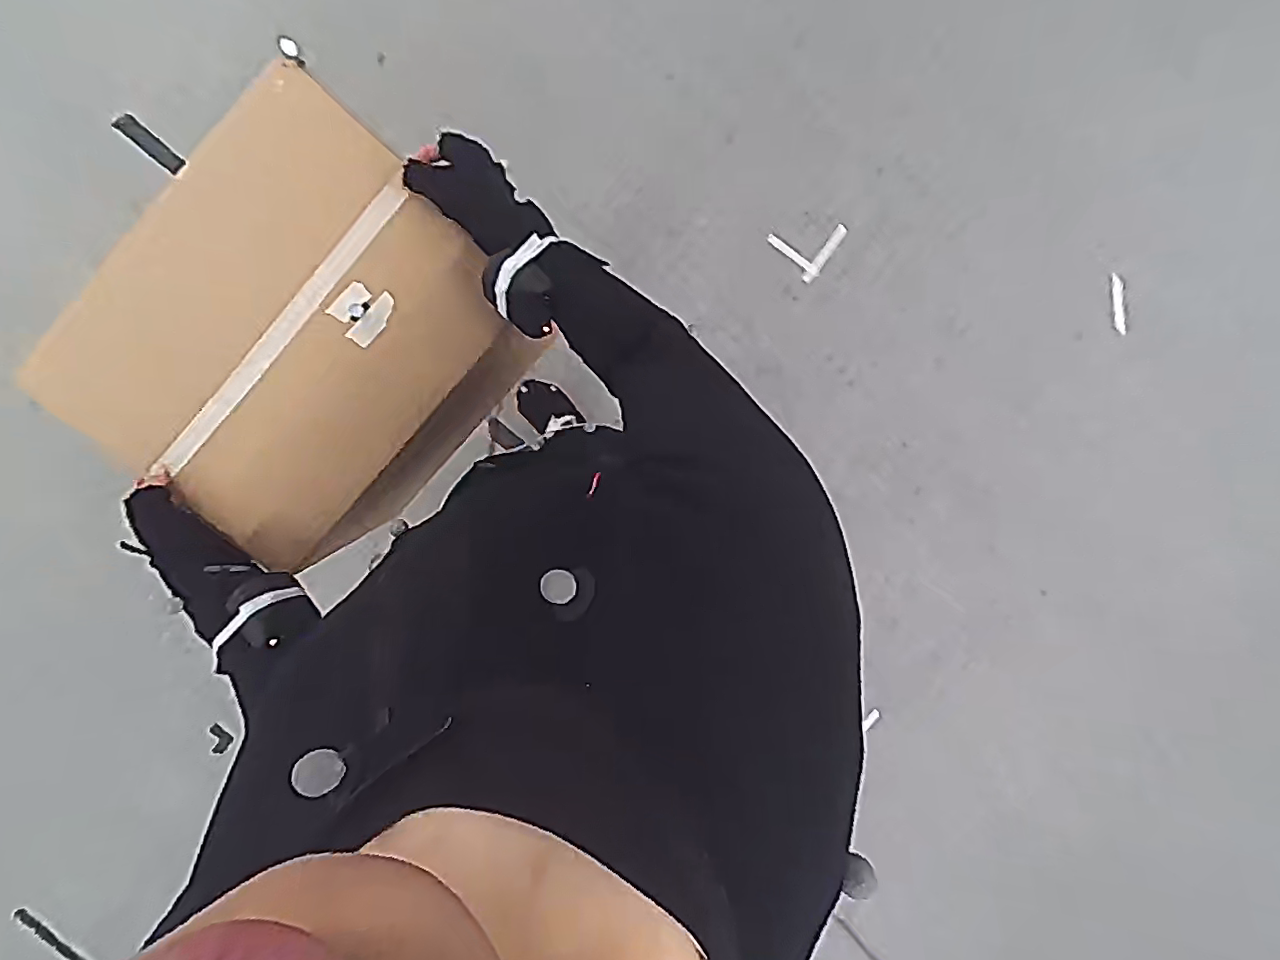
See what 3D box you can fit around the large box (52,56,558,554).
[{"bbox_3d":[-0.357,-0.181,0.695,0.320,0.320,0.408,42,92,-9],"label":"large box"}]
